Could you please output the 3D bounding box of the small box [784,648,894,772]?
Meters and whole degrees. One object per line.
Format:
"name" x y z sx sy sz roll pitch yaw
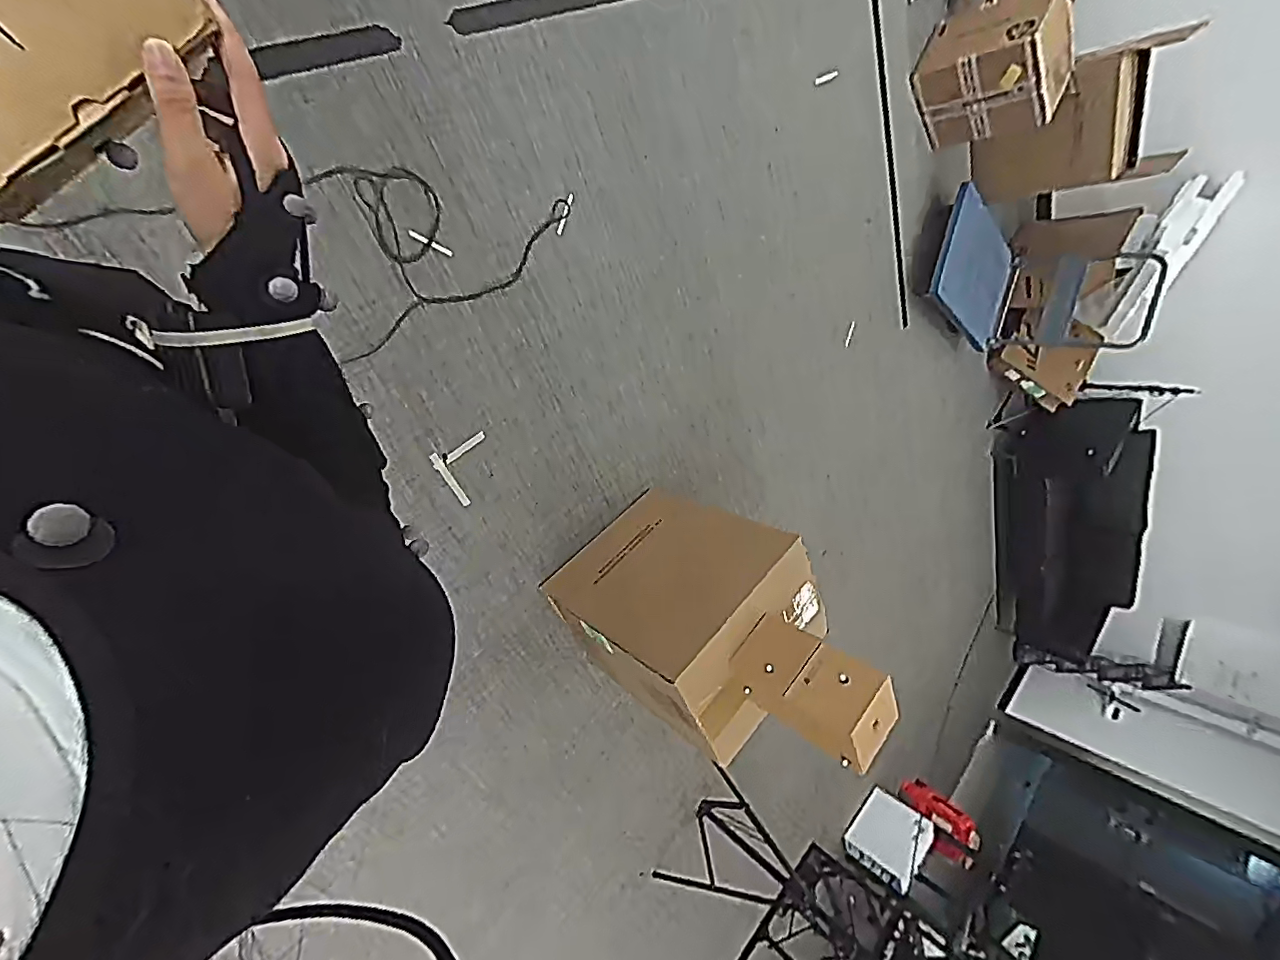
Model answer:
"small box" 0.451 0.511 1.230 0.168 0.176 0.179 -43 127 -24

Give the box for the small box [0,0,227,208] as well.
"small box" -0.357 -0.257 0.266 0.168 0.176 0.179 -49 135 -11
